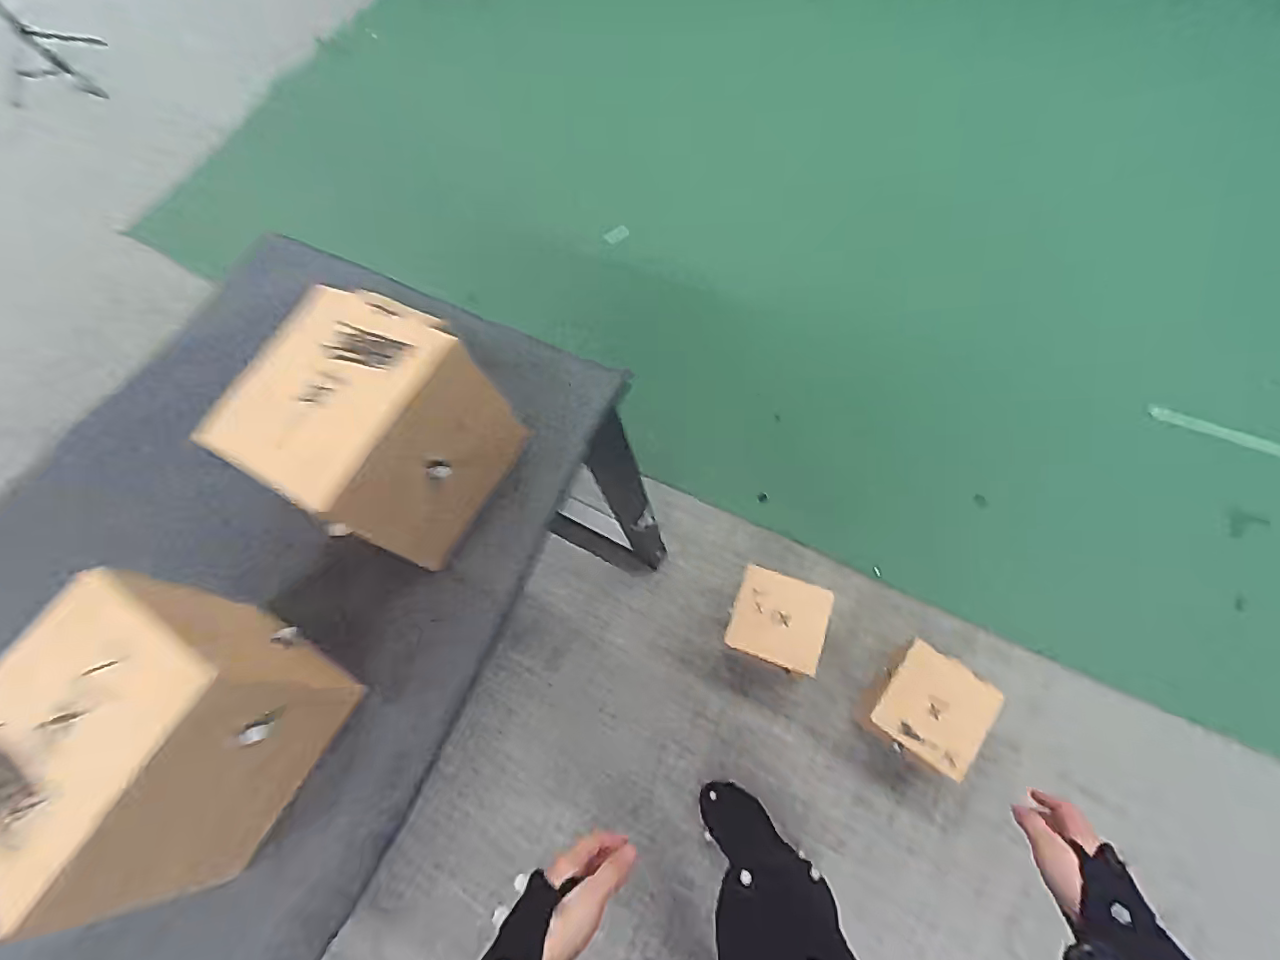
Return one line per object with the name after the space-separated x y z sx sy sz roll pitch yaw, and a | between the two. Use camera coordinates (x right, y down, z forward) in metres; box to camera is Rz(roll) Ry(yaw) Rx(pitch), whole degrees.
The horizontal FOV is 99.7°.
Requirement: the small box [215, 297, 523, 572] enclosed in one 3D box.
-0.238 -0.037 0.525 0.168 0.176 0.179 25 74 22 | small box

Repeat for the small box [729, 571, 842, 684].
0.289 0.306 1.104 0.179 0.176 0.168 17 70 15 | small box

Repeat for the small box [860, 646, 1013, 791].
0.538 0.437 1.010 0.168 0.176 0.179 35 76 19 | small box
